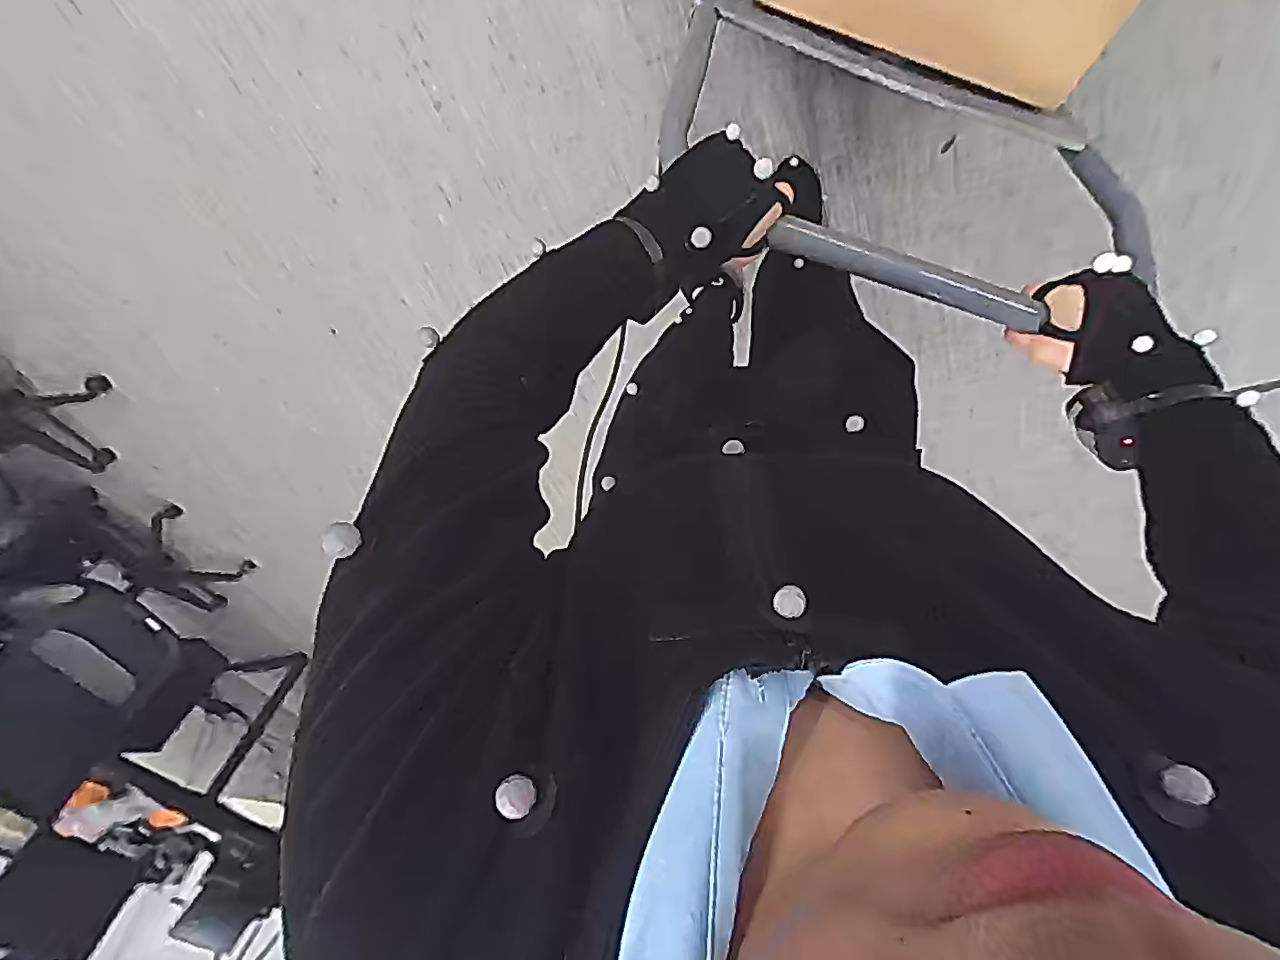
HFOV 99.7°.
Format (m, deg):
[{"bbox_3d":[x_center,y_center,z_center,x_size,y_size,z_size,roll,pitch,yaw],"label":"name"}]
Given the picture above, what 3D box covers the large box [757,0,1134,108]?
[{"bbox_3d":[0.376,-0.711,0.631,0.408,0.320,0.320,15,141,-6],"label":"large box"}]
